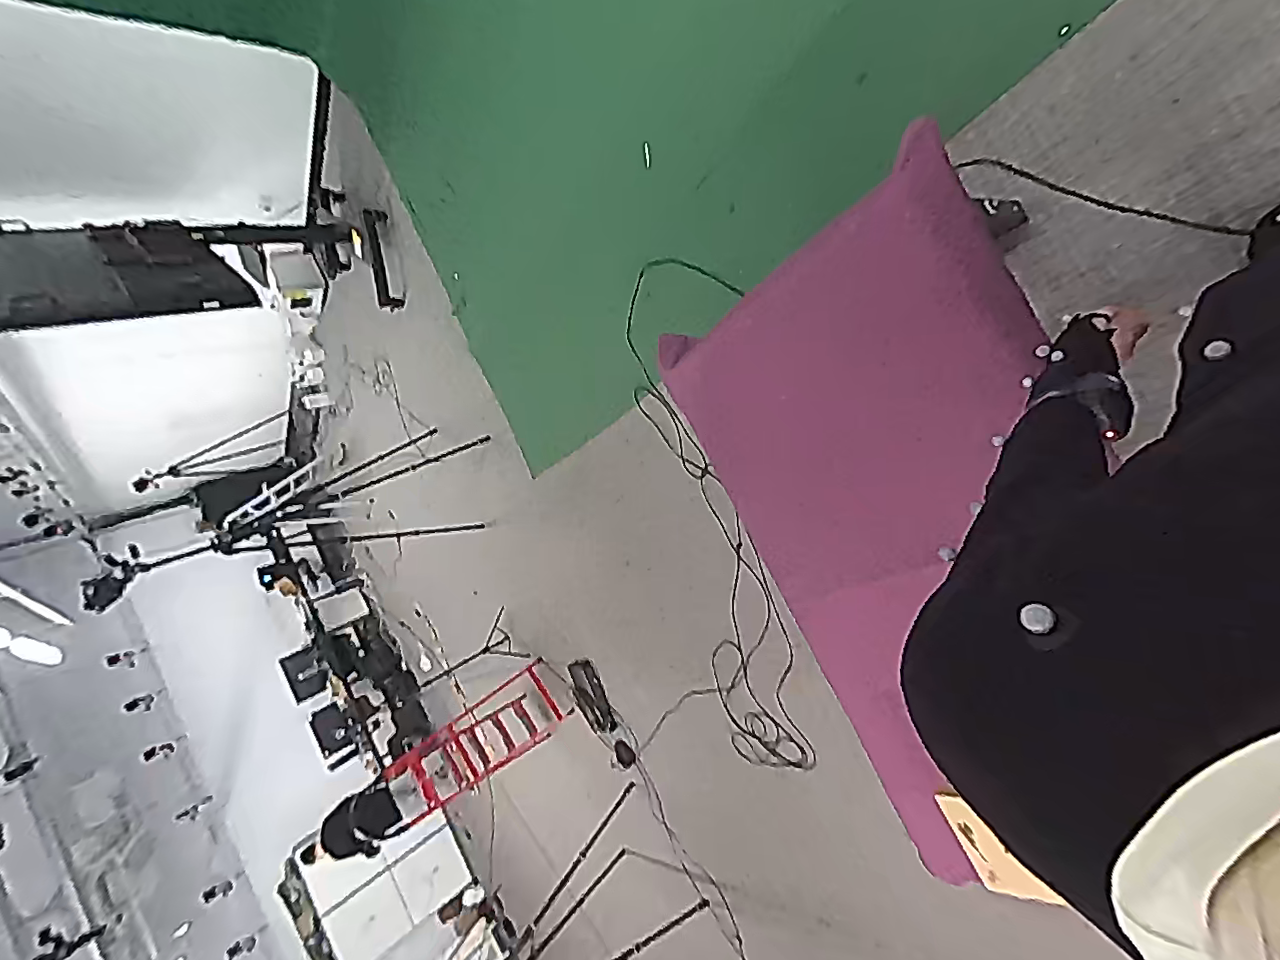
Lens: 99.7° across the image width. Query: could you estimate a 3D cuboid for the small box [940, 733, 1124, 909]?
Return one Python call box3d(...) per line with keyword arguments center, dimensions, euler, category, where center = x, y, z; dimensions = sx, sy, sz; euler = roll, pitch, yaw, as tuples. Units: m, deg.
box3d(center=(0.628, 0.525, 0.861), dimensions=(0.179, 0.176, 0.168), euler=(-36, 79, 49), category="small box")
